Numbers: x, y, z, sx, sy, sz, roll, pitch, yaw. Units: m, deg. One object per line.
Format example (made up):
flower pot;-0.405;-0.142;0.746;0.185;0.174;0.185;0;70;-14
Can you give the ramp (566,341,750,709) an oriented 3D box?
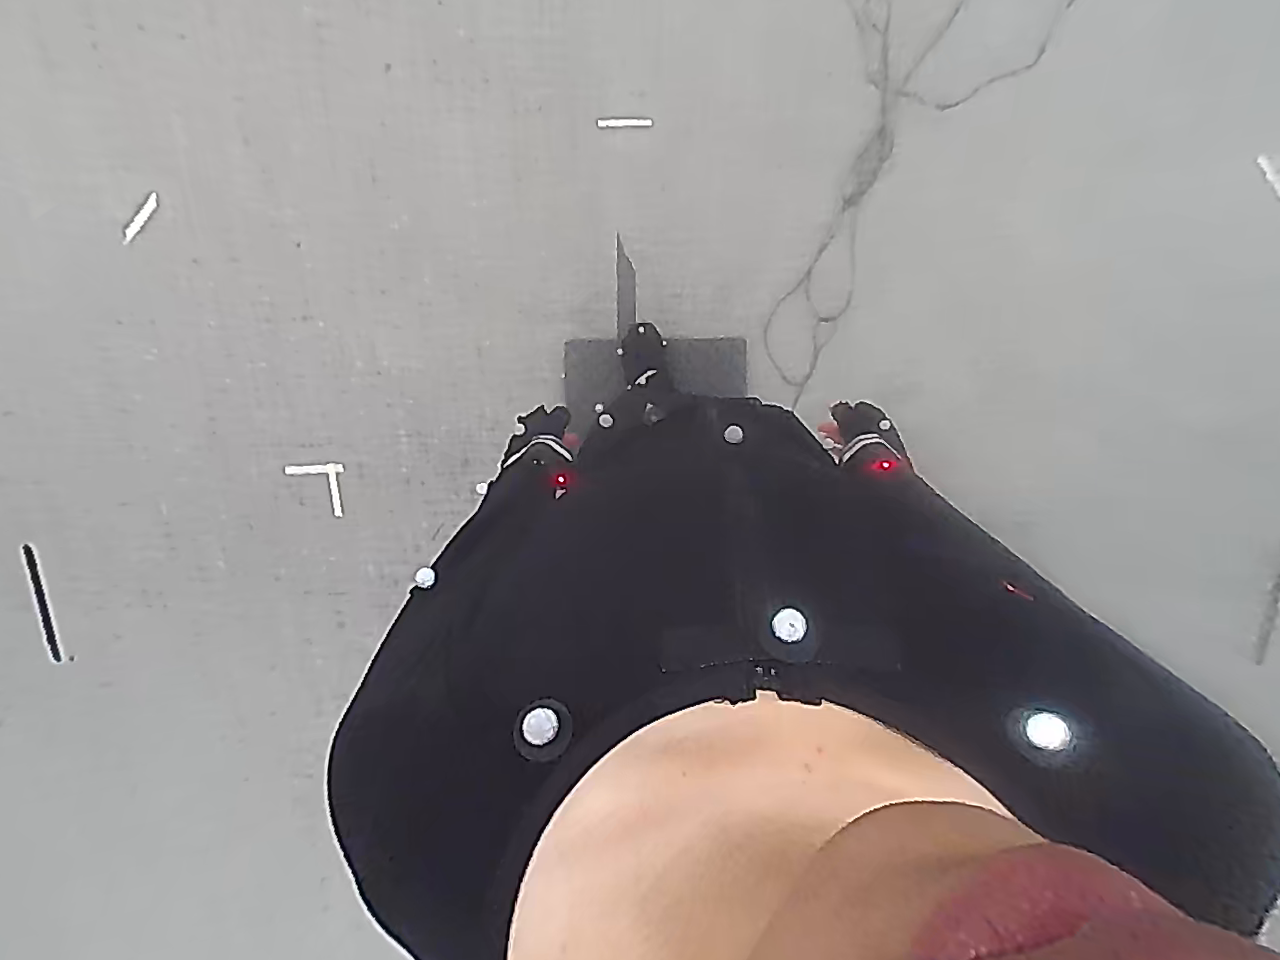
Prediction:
ramp;0.047;0.126;1.477;0.509;0.206;0.991;-2;101;4
